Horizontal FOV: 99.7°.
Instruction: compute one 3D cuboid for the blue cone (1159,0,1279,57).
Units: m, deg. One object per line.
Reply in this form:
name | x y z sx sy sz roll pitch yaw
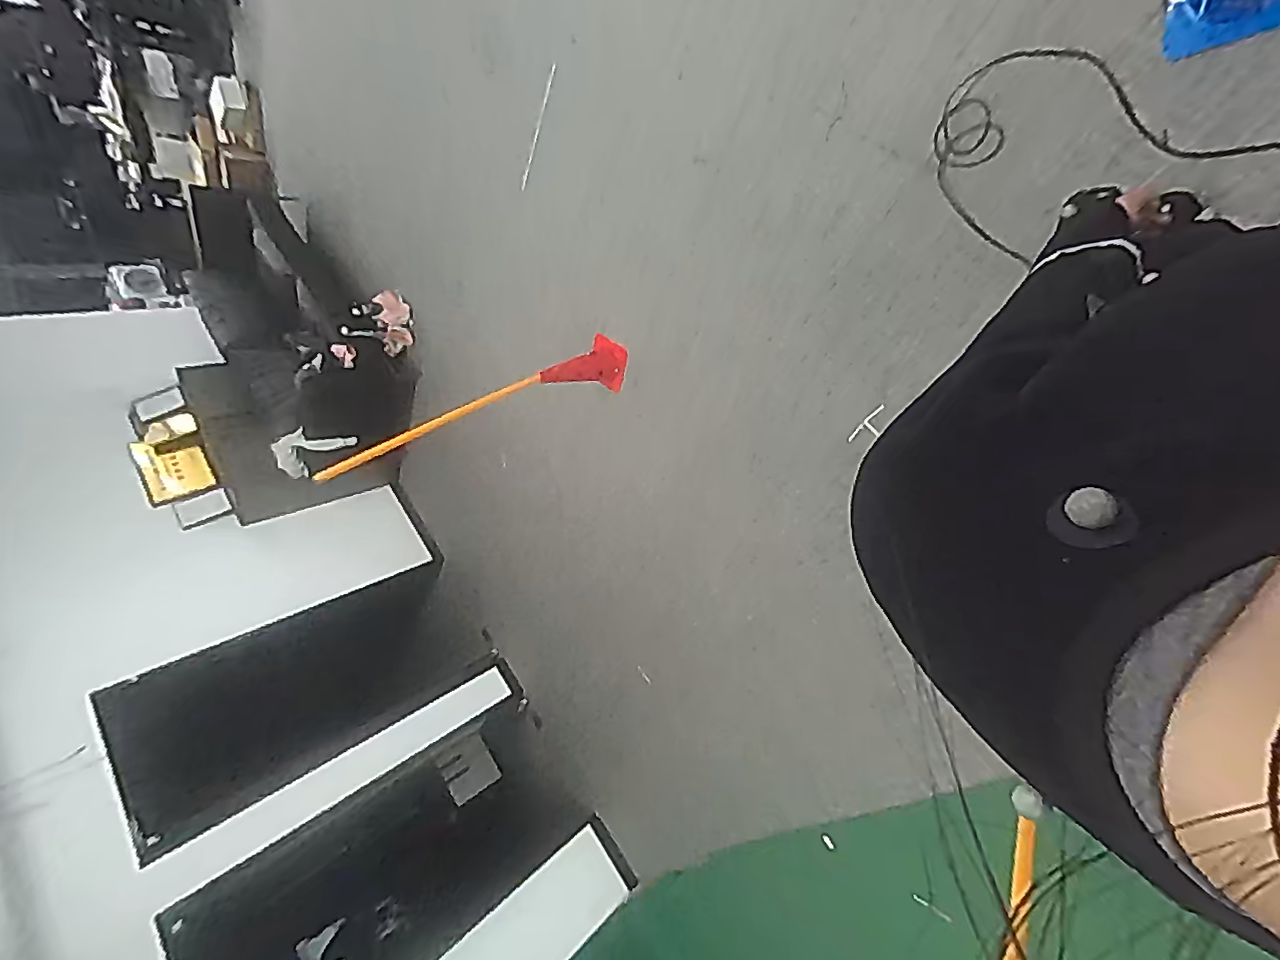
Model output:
blue cone | 0.874 -0.794 0.782 0.192 0.380 0.193 8 109 46
